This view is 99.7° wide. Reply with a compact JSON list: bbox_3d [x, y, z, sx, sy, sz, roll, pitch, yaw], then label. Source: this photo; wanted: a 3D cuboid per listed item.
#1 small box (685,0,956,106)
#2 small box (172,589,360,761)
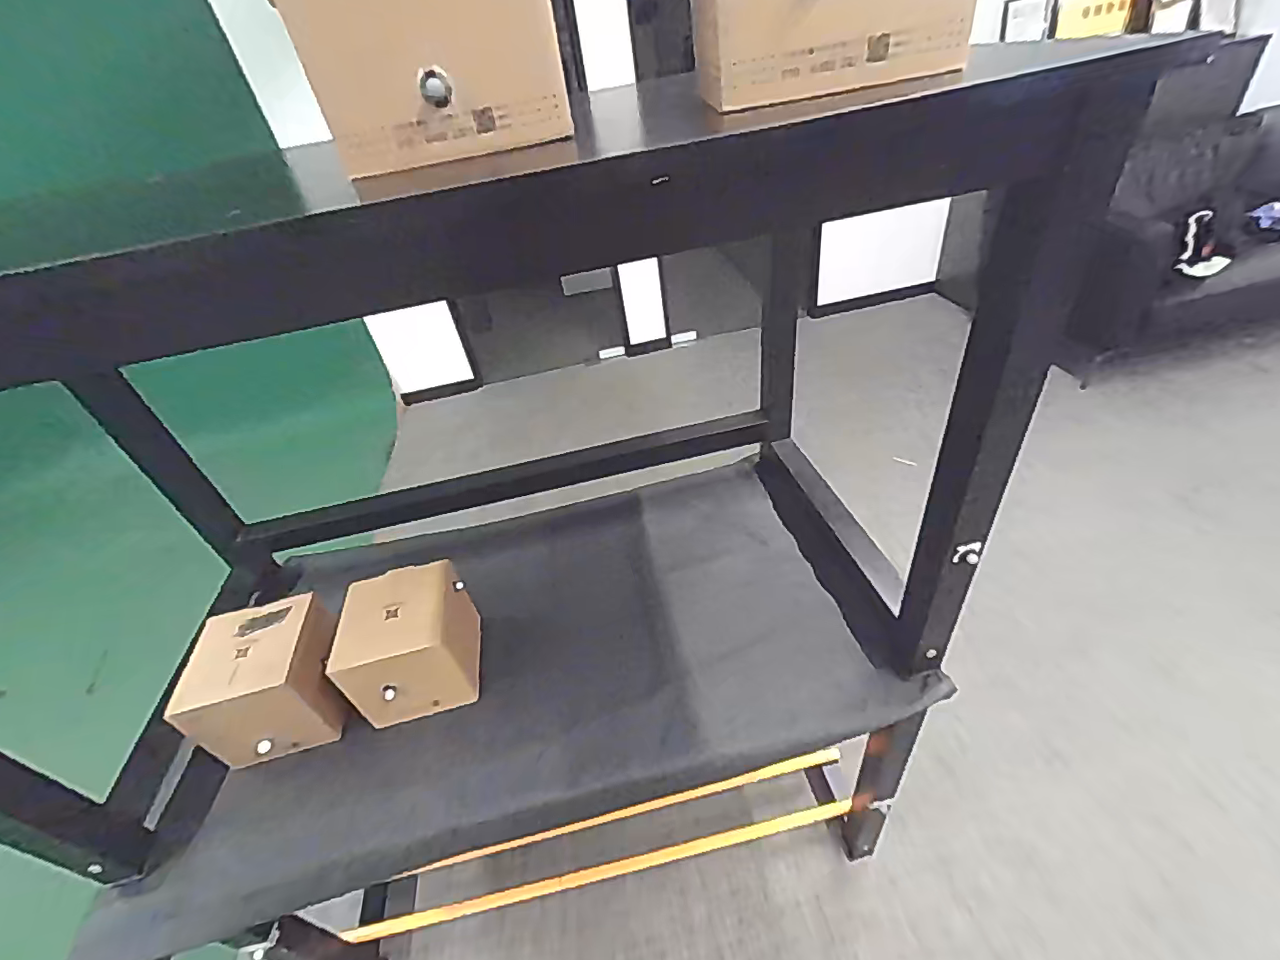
[{"bbox_3d":[0.117,-0.381,0.383,0.168,0.176,0.179,-7,38,5],"label":"small box"},{"bbox_3d":[-0.576,0.310,0.867,0.168,0.176,0.179,-14,39,-5],"label":"small box"}]
